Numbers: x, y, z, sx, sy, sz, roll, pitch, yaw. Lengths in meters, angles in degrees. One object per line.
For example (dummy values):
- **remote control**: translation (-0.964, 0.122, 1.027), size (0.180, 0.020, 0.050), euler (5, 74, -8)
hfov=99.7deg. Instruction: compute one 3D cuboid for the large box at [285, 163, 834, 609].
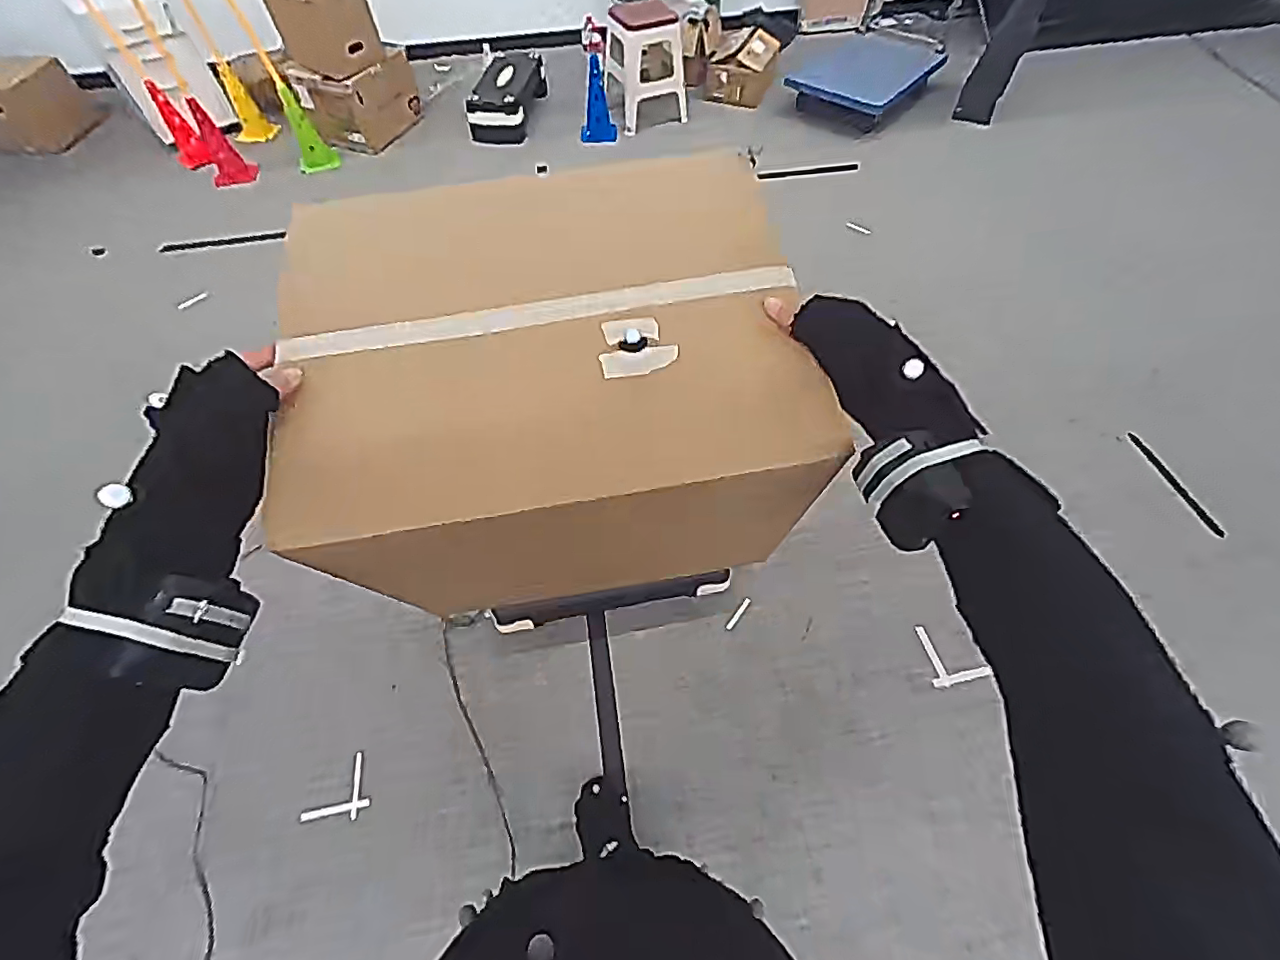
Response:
- **large box**: translation (-0.075, -0.070, 0.576), size (0.408, 0.320, 0.320), euler (-9, 69, -3)
